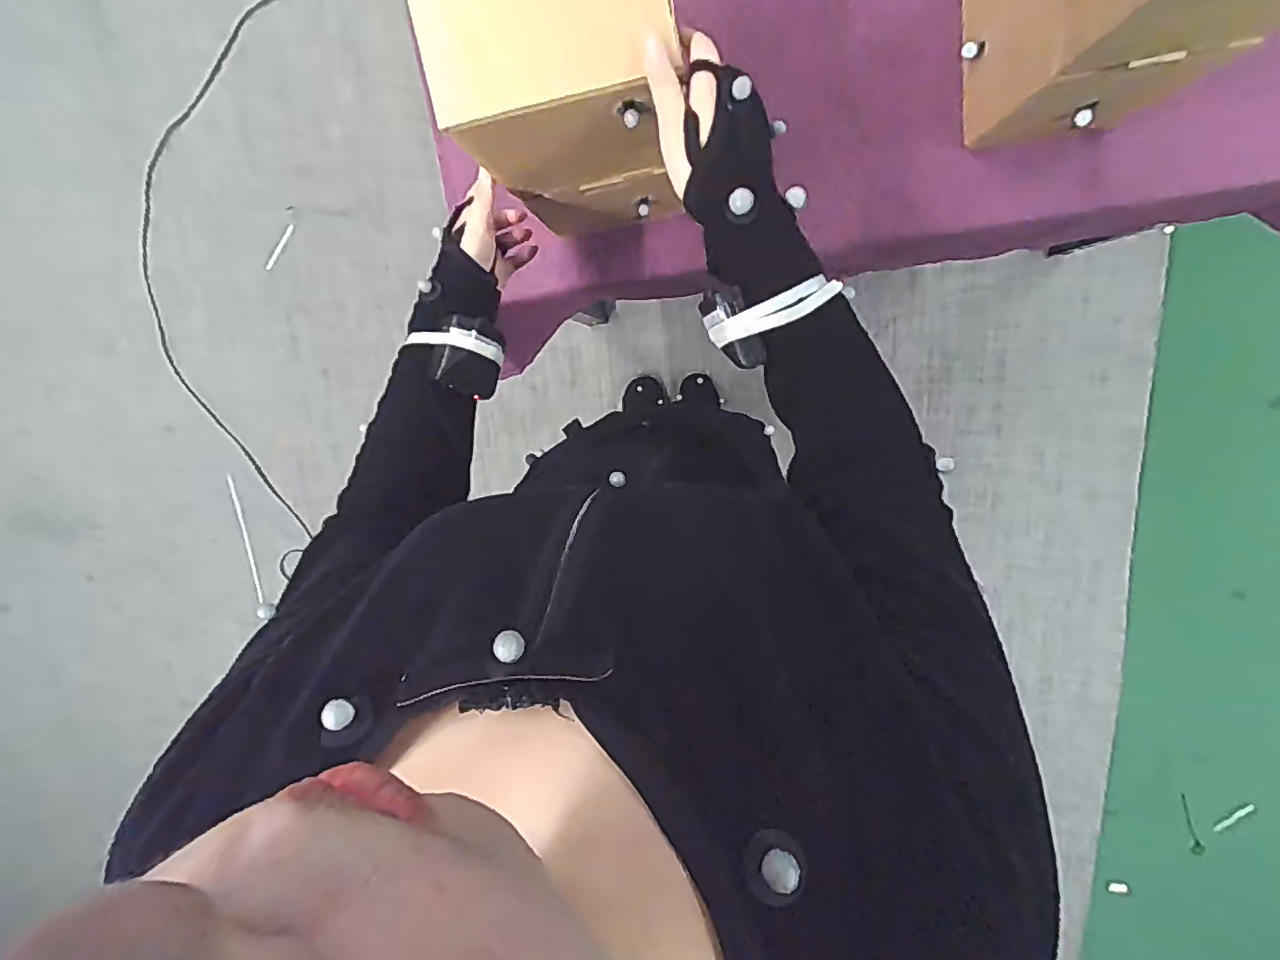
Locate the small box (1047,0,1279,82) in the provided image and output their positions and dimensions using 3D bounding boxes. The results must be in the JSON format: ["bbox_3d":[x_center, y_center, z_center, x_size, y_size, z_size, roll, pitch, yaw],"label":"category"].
[{"bbox_3d":[0.423,-0.417,0.376,0.179,0.176,0.168,-7,101,7],"label":"small box"}]

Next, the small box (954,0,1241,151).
[{"bbox_3d":[0.436,-0.453,0.537,0.168,0.176,0.179,-6,102,6],"label":"small box"}]

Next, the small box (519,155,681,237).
[{"bbox_3d":[-0.045,-0.383,0.597,0.168,0.176,0.179,-8,100,6],"label":"small box"}]

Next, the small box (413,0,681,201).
[{"bbox_3d":[-0.064,-0.350,0.439,0.179,0.176,0.168,-10,101,5],"label":"small box"}]
